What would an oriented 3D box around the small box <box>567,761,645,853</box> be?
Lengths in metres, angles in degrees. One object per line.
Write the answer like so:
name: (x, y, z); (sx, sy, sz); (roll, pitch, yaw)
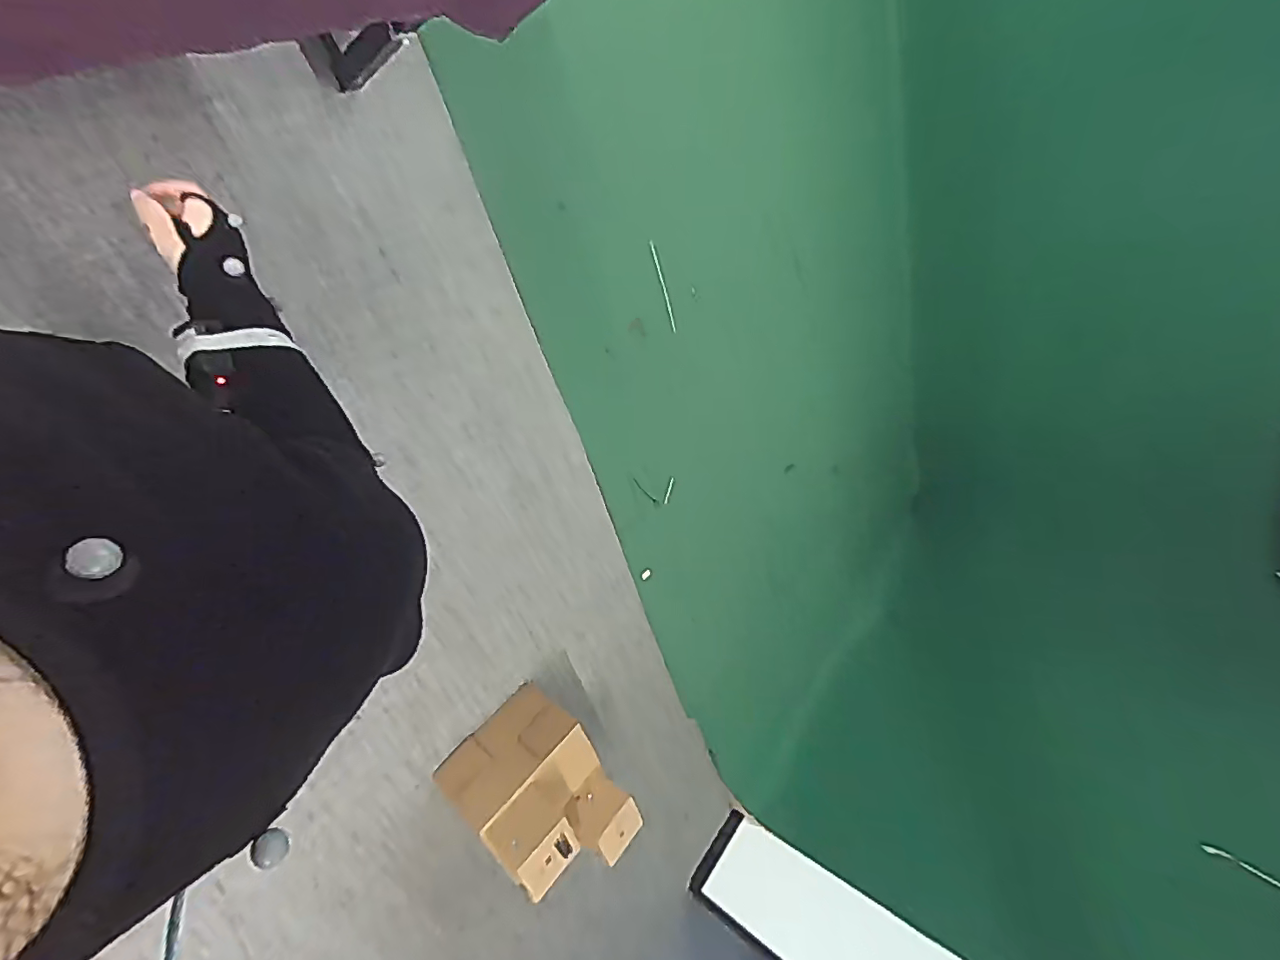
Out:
small box: (-0.114, 1.077, 1.796); (0.168, 0.176, 0.179); (-41, 129, -34)
